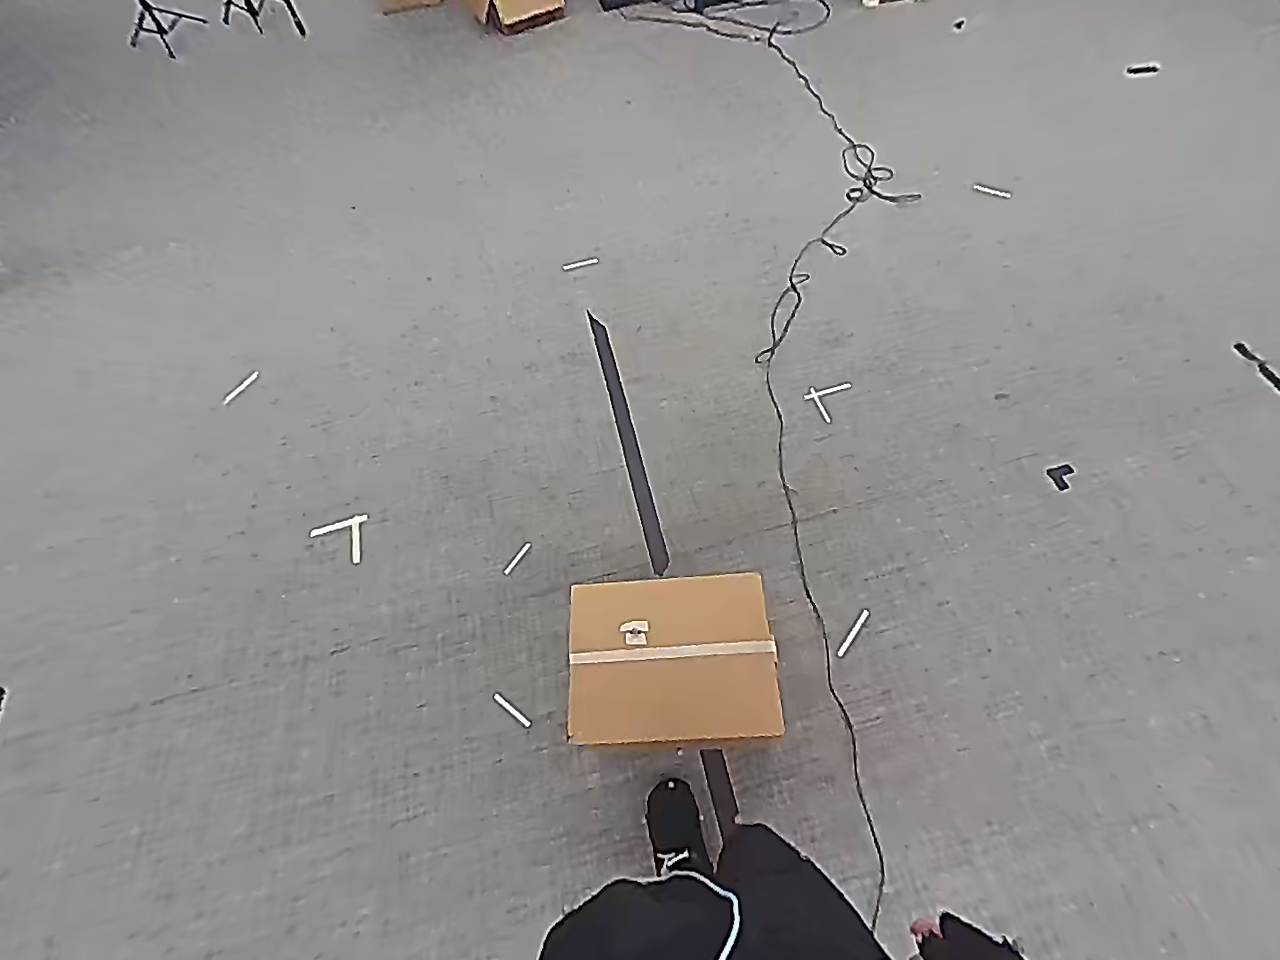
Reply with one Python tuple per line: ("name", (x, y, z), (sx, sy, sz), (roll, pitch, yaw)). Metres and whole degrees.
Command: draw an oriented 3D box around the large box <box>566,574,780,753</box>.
("large box", (0.072, 0.420, 1.195), (0.408, 0.320, 0.320), (-5, 59, 6))
